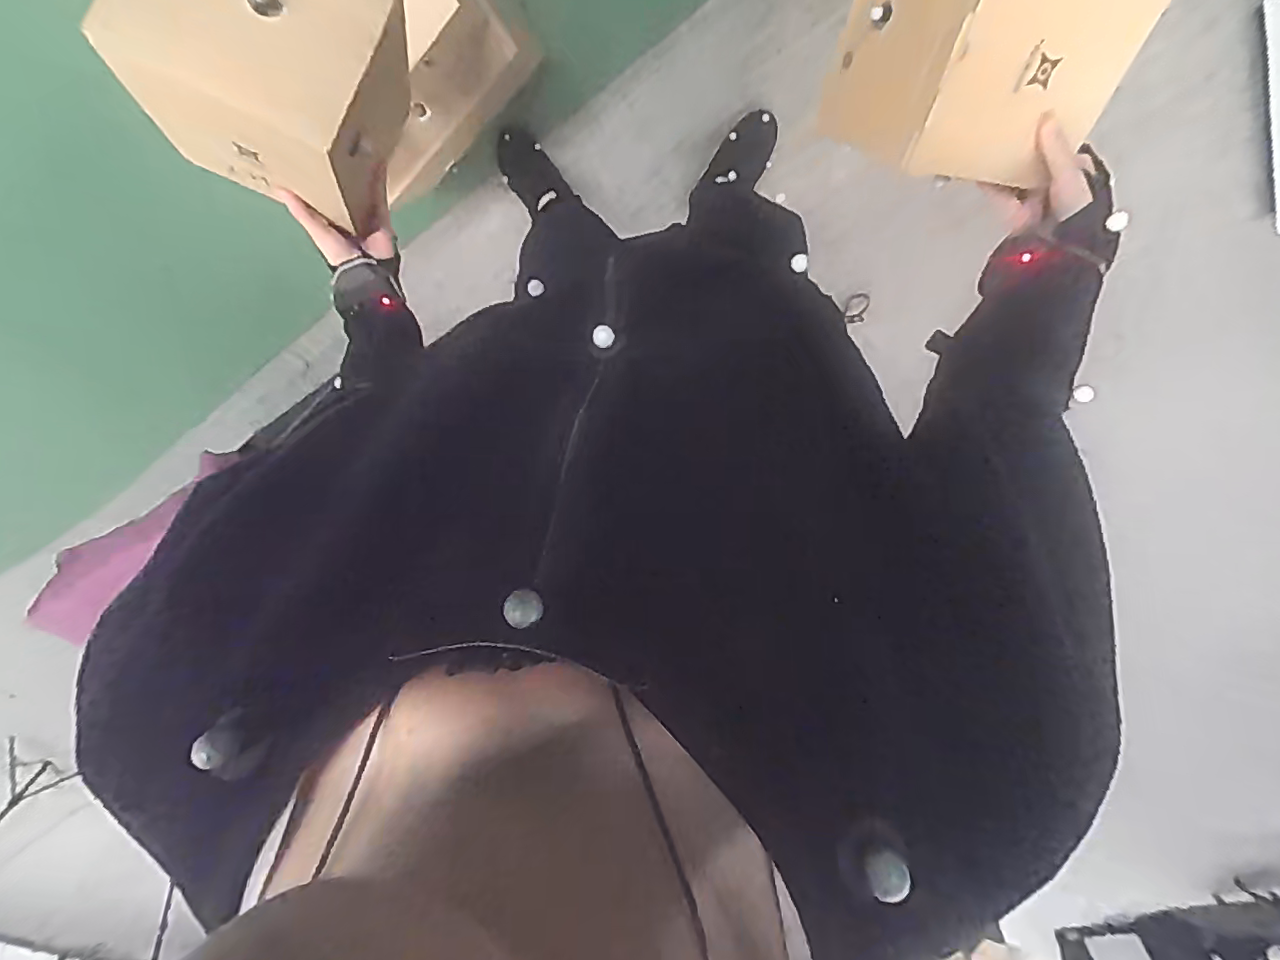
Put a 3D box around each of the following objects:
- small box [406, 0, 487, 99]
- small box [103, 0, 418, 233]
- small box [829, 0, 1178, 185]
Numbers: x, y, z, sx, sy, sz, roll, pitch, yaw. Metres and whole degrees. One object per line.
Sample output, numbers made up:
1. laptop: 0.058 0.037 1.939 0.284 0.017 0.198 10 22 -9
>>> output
1. small box: -0.344 -0.670 0.762 0.179 0.176 0.168 -32 121 24
2. small box: -0.316 -0.373 0.496 0.168 0.179 0.176 22 83 -20
3. small box: 0.308 -0.387 0.485 0.179 0.176 0.168 -2 133 -16
